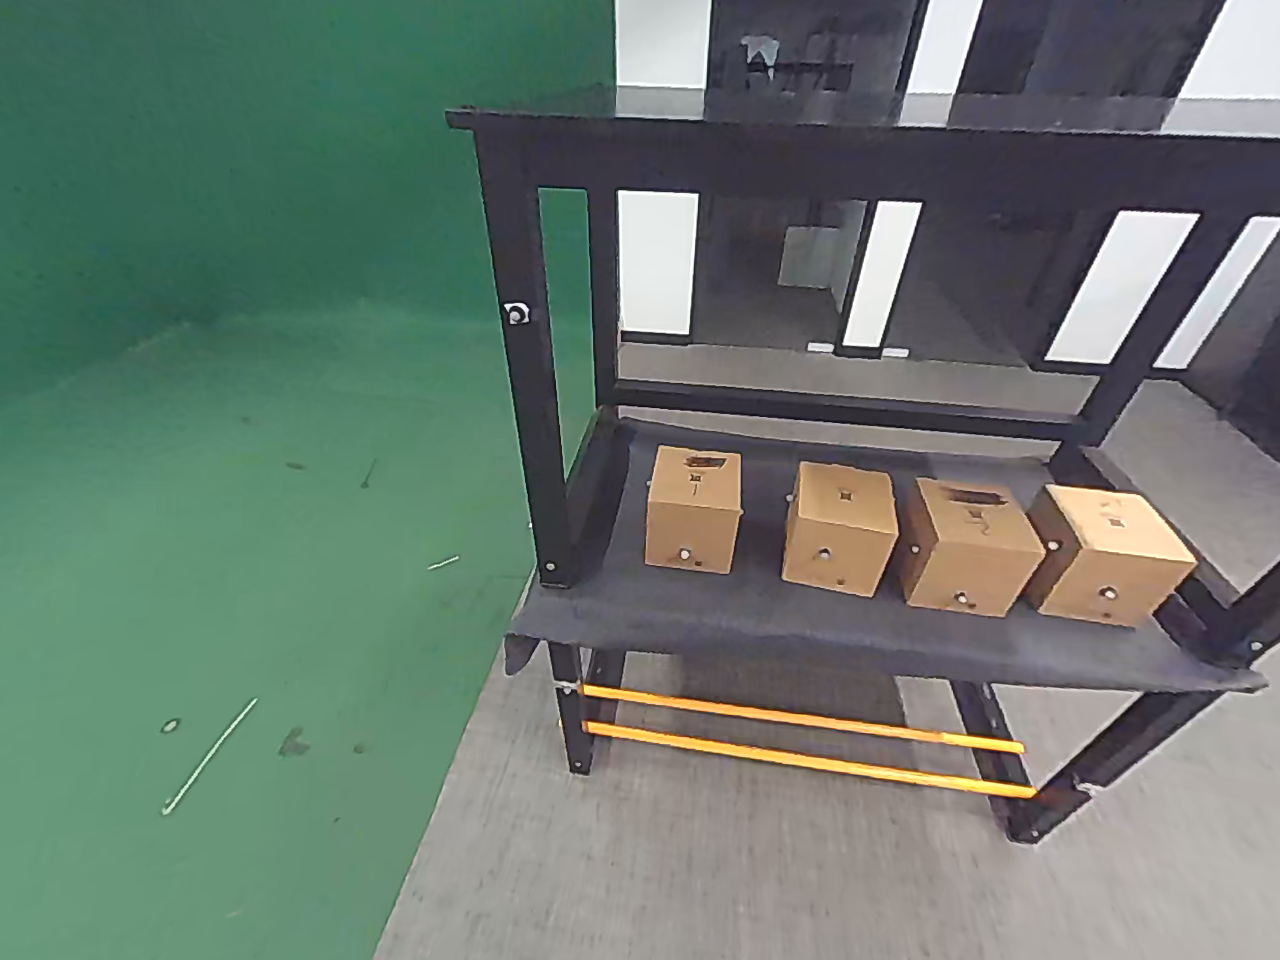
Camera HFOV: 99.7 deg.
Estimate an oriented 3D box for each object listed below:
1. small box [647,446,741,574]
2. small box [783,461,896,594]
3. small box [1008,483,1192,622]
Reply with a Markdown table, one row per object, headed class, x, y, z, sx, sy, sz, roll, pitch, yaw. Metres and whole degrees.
| class | x | y | z | sx | sy | sz | roll | pitch | yaw |
| --- | --- | --- | --- | --- | --- | --- | --- | --- | --- |
| small box | 0.106 | 0.057 | 1.063 | 0.168 | 0.176 | 0.179 | 6 | 39 | 6 |
| small box | 0.371 | 0.090 | 1.027 | 0.168 | 0.176 | 0.179 | 10 | 39 | 11 |
| small box | 0.808 | 0.131 | 0.975 | 0.168 | 0.176 | 0.179 | 7 | 38 | 9 |
